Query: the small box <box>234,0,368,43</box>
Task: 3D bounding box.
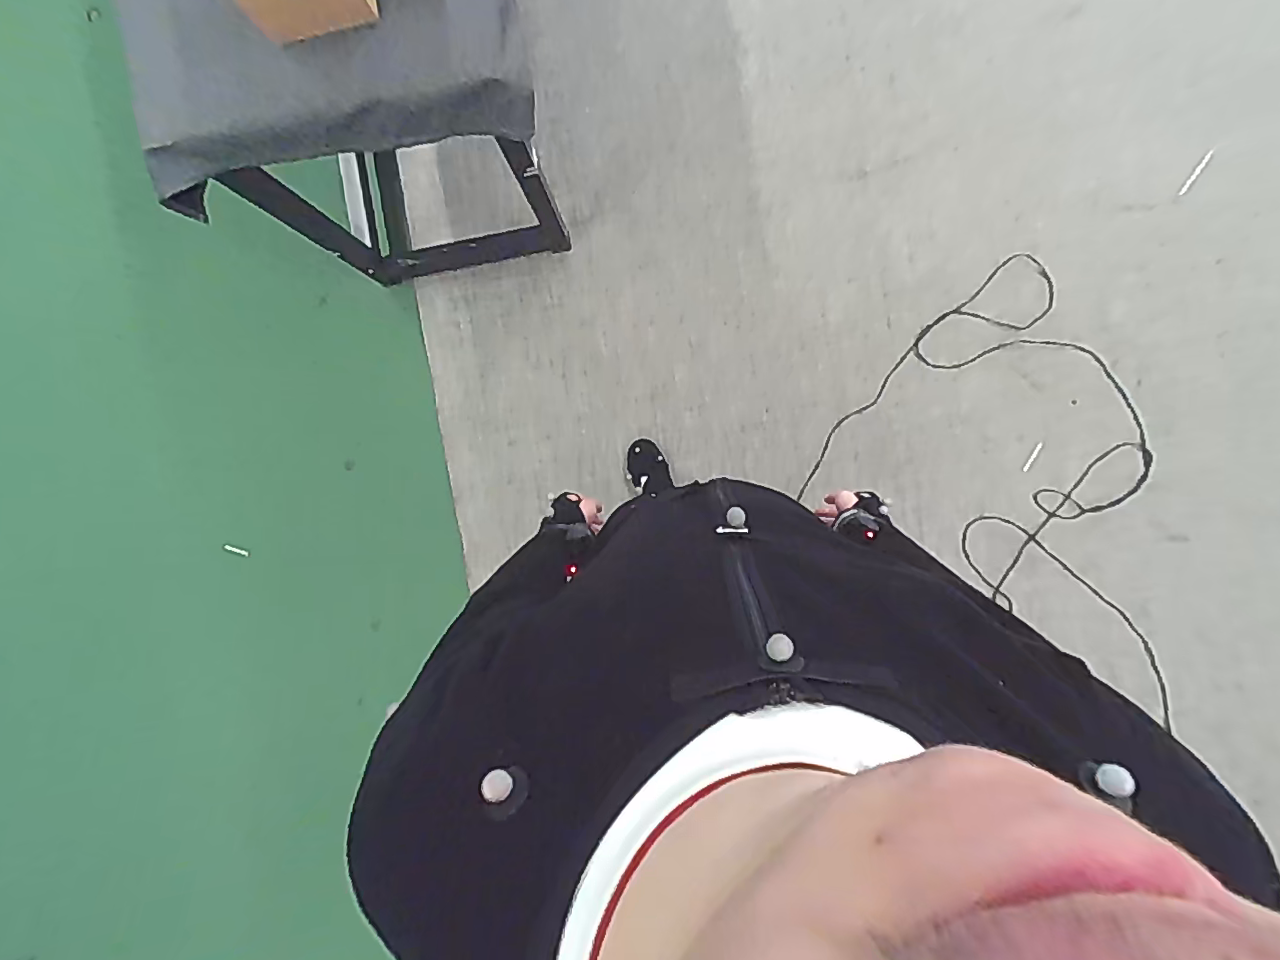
[{"bbox_3d":[-0.515,-0.781,0.771,0.179,0.176,0.168,-11,90,3],"label":"small box"}]
